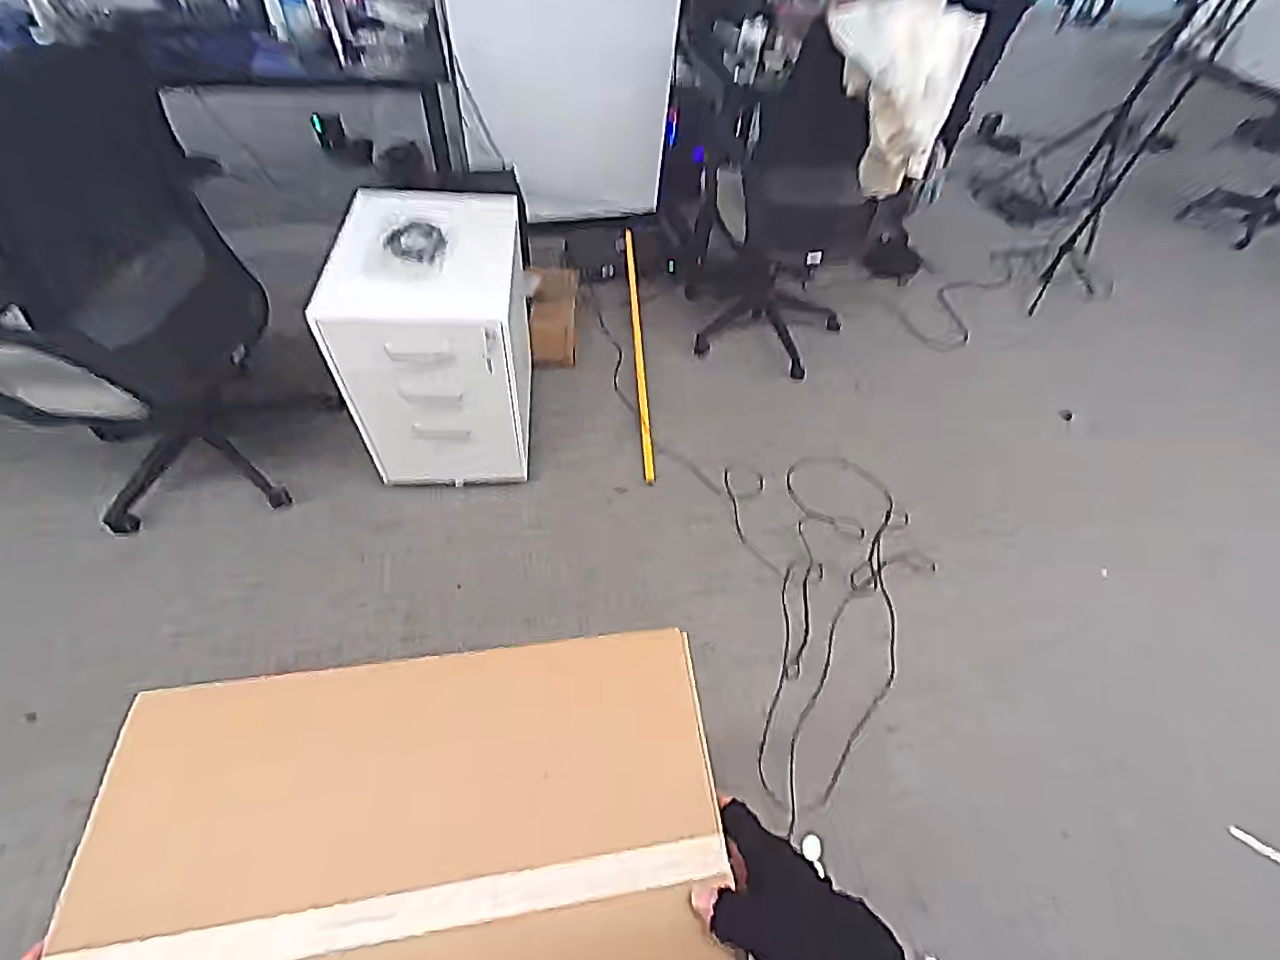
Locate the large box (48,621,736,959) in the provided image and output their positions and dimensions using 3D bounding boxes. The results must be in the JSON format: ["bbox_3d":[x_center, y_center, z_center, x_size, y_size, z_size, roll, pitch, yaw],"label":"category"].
[{"bbox_3d":[-0.155,0.342,0.464,0.408,0.320,0.320,-4,56,-8],"label":"large box"}]
